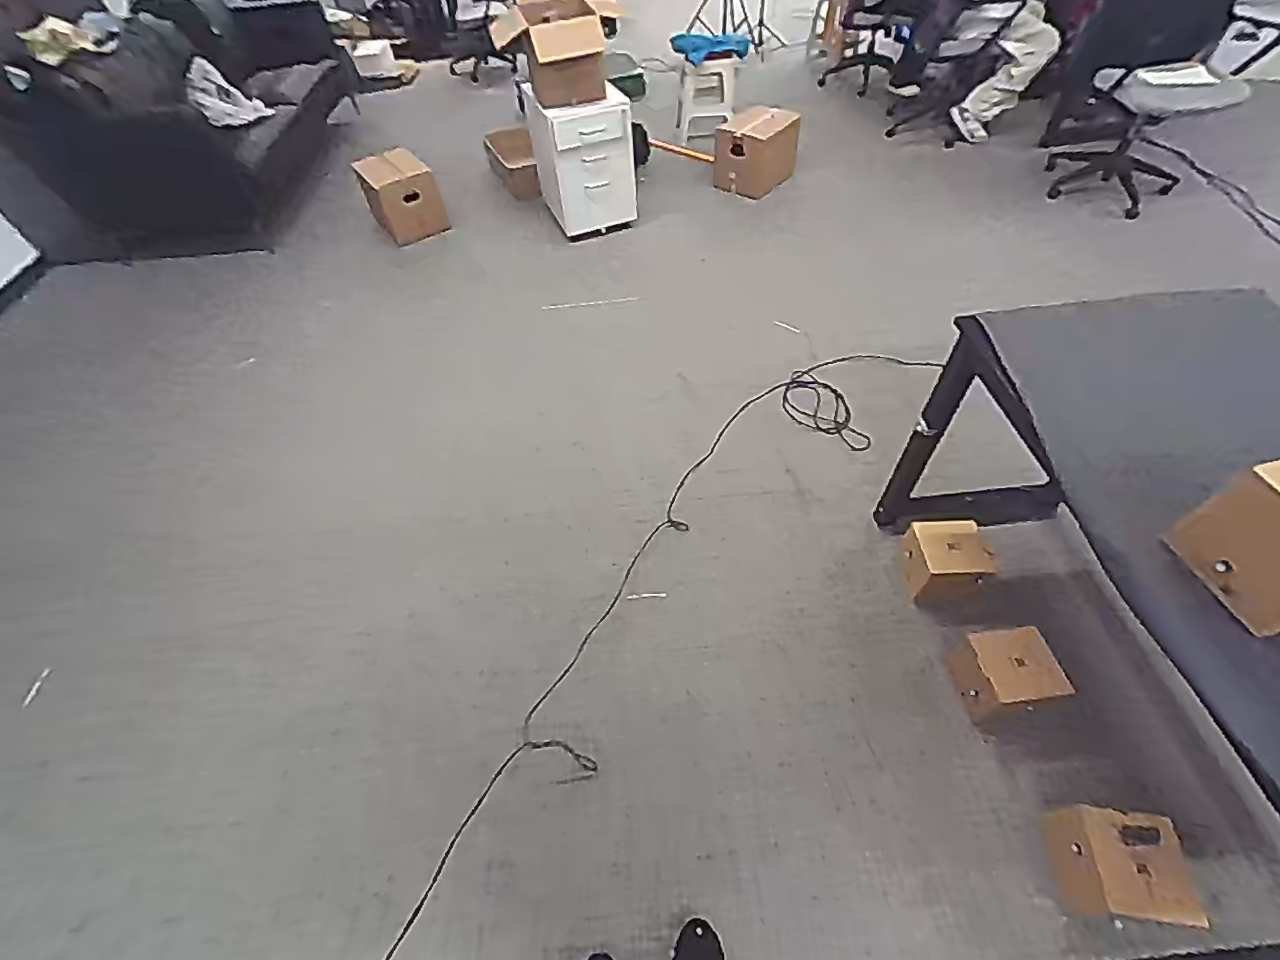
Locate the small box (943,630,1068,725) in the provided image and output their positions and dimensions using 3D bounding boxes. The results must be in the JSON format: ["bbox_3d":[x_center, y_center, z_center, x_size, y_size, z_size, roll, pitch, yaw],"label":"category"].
[{"bbox_3d":[0.878,0.489,1.327,0.179,0.176,0.168,-6,52,-2],"label":"small box"}]

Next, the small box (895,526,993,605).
[{"bbox_3d":[0.843,0.244,1.528,0.179,0.176,0.168,-1,51,2],"label":"small box"}]

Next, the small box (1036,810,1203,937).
[{"bbox_3d":[0.939,0.785,1.084,0.168,0.176,0.179,5,53,8],"label":"small box"}]
